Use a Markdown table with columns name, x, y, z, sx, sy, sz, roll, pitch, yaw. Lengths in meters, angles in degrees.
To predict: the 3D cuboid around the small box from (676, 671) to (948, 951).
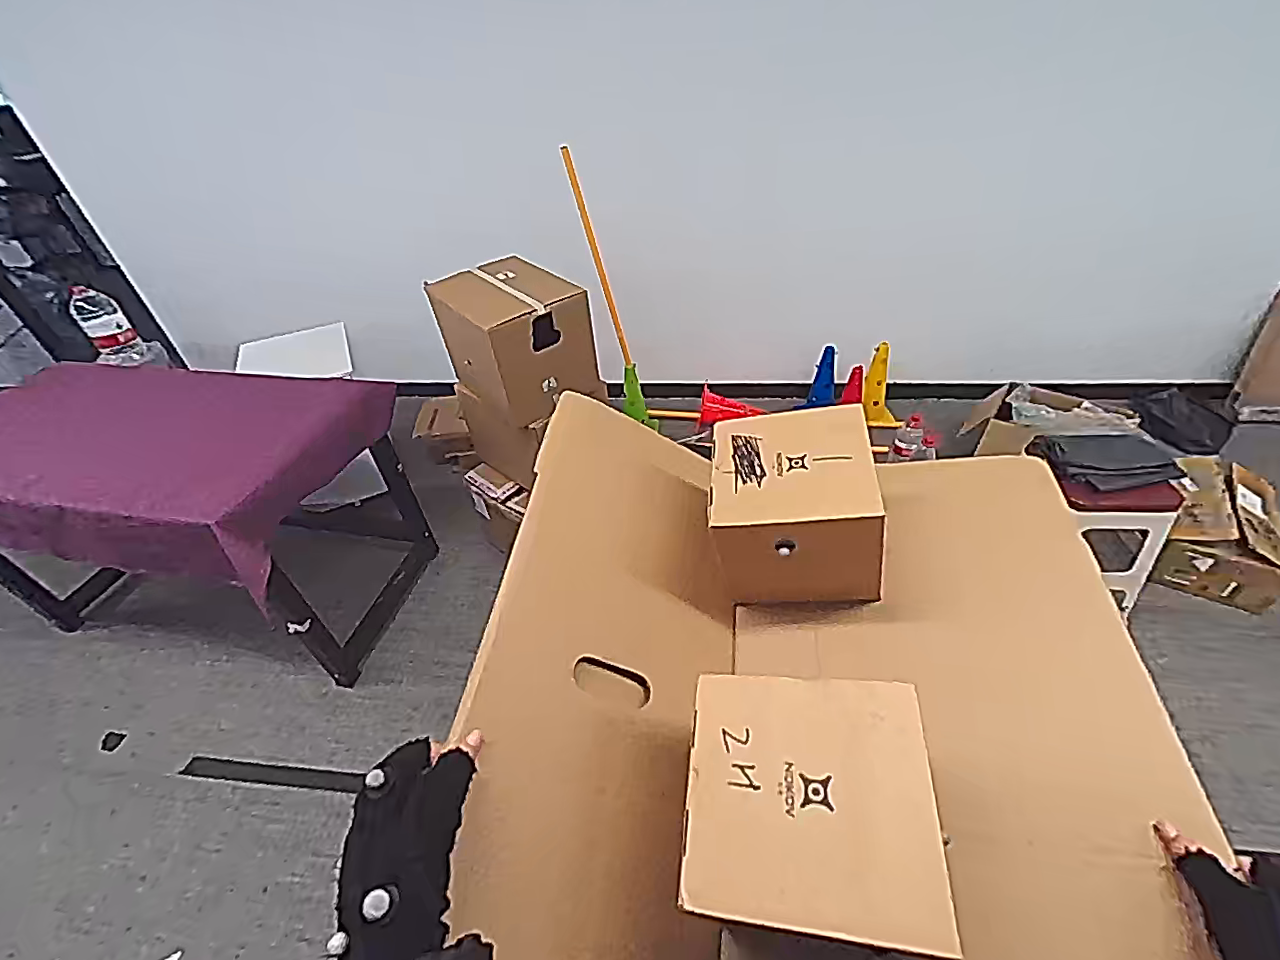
| name | x | y | z | sx | sy | sz | roll | pitch | yaw |
| --- | --- | --- | --- | --- | --- | --- | --- | --- | --- |
| small box | 0.144 | 0.280 | 0.464 | 0.179 | 0.176 | 0.168 | -5 | 48 | 20 |

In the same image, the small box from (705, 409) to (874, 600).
| name | x | y | z | sx | sy | sz | roll | pitch | yaw |
| --- | --- | --- | --- | --- | --- | --- | --- | --- | --- |
| small box | 0.186 | 0.037 | 0.667 | 0.179 | 0.176 | 0.168 | -6 | 48 | 17 |
